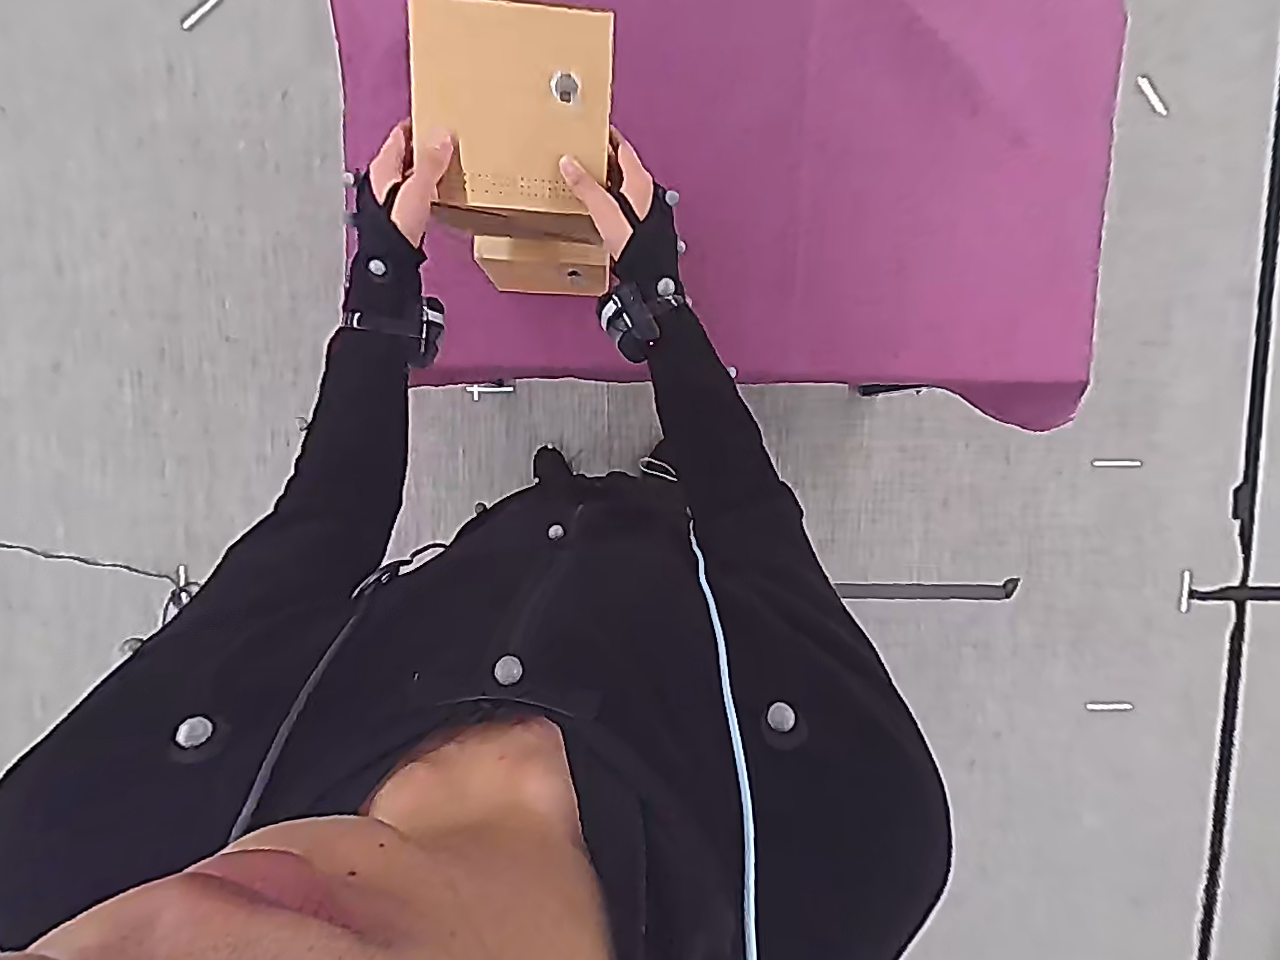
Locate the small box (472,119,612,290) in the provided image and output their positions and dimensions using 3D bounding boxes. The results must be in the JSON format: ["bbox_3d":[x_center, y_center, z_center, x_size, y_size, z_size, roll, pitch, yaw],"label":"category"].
[{"bbox_3d":[-0.131,-0.377,0.772,0.179,0.176,0.168,2,95,-3],"label":"small box"}]
